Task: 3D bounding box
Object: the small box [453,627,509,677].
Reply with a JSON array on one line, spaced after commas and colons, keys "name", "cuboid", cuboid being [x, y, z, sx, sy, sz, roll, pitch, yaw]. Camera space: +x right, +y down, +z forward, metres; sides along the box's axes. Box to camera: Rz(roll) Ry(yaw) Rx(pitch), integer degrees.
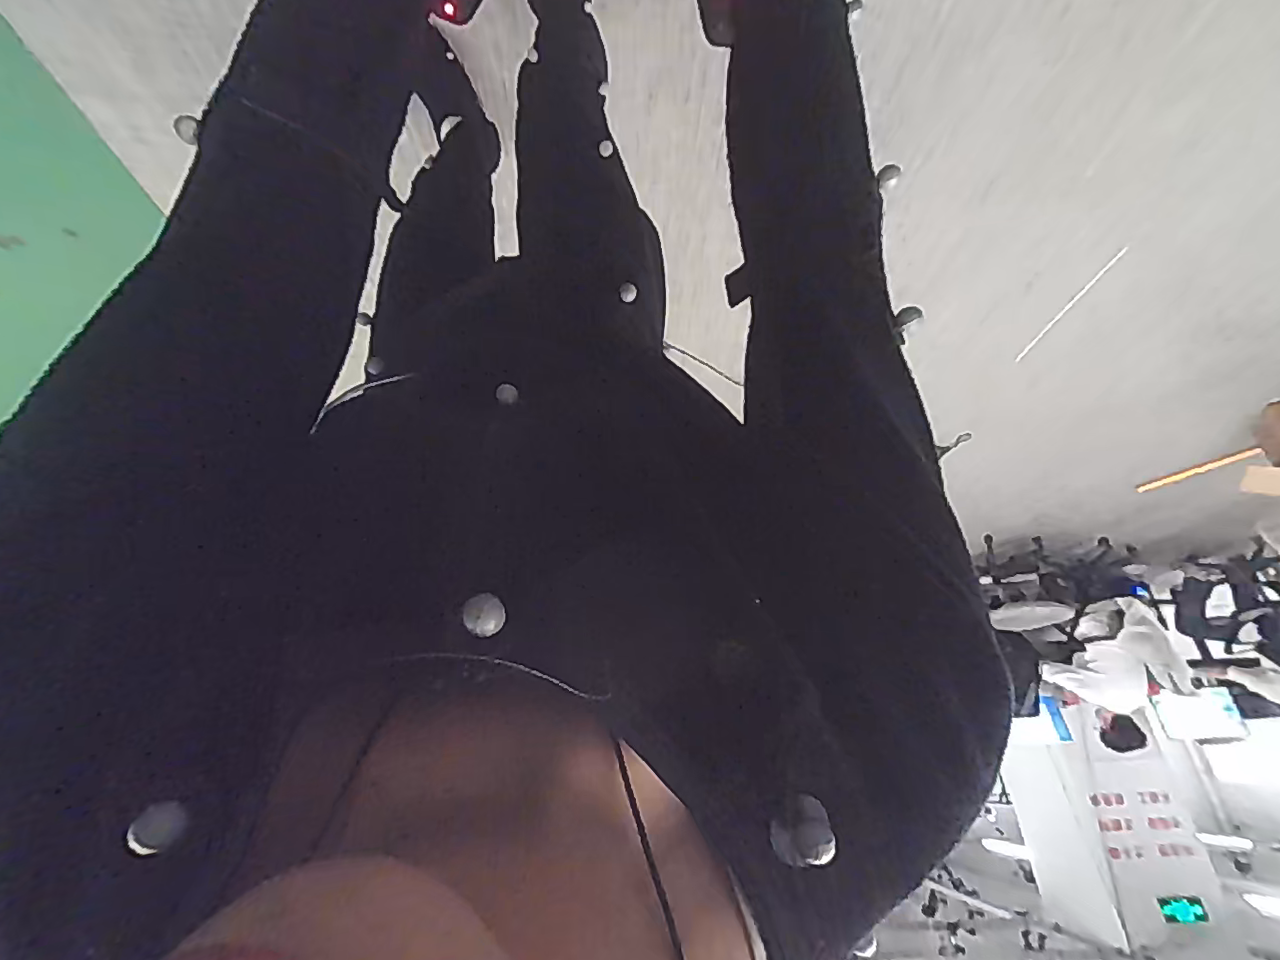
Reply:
[{"name": "small box", "cuboid": [-0.626, 0.688, 2.155, 0.168, 0.176, 0.179, -3, 153, 1]}]
